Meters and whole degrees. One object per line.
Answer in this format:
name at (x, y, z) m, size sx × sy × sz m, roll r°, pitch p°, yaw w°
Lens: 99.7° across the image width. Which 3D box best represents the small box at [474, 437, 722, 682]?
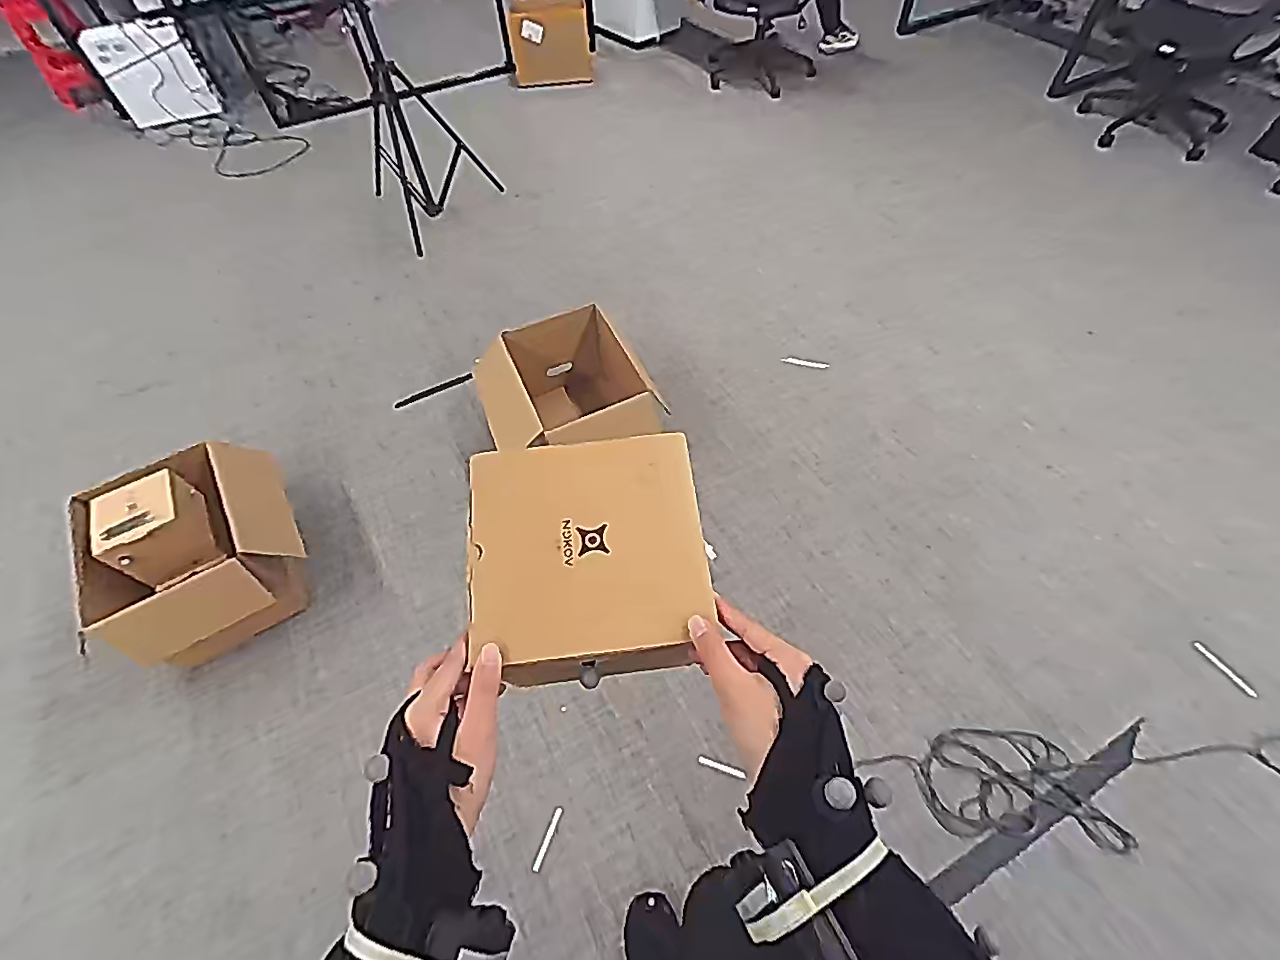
small box at (-0.037, 0.079, 0.479) m, size 0.179 × 0.176 × 0.168 m, roll -6°, pitch 65°, yaw -3°
